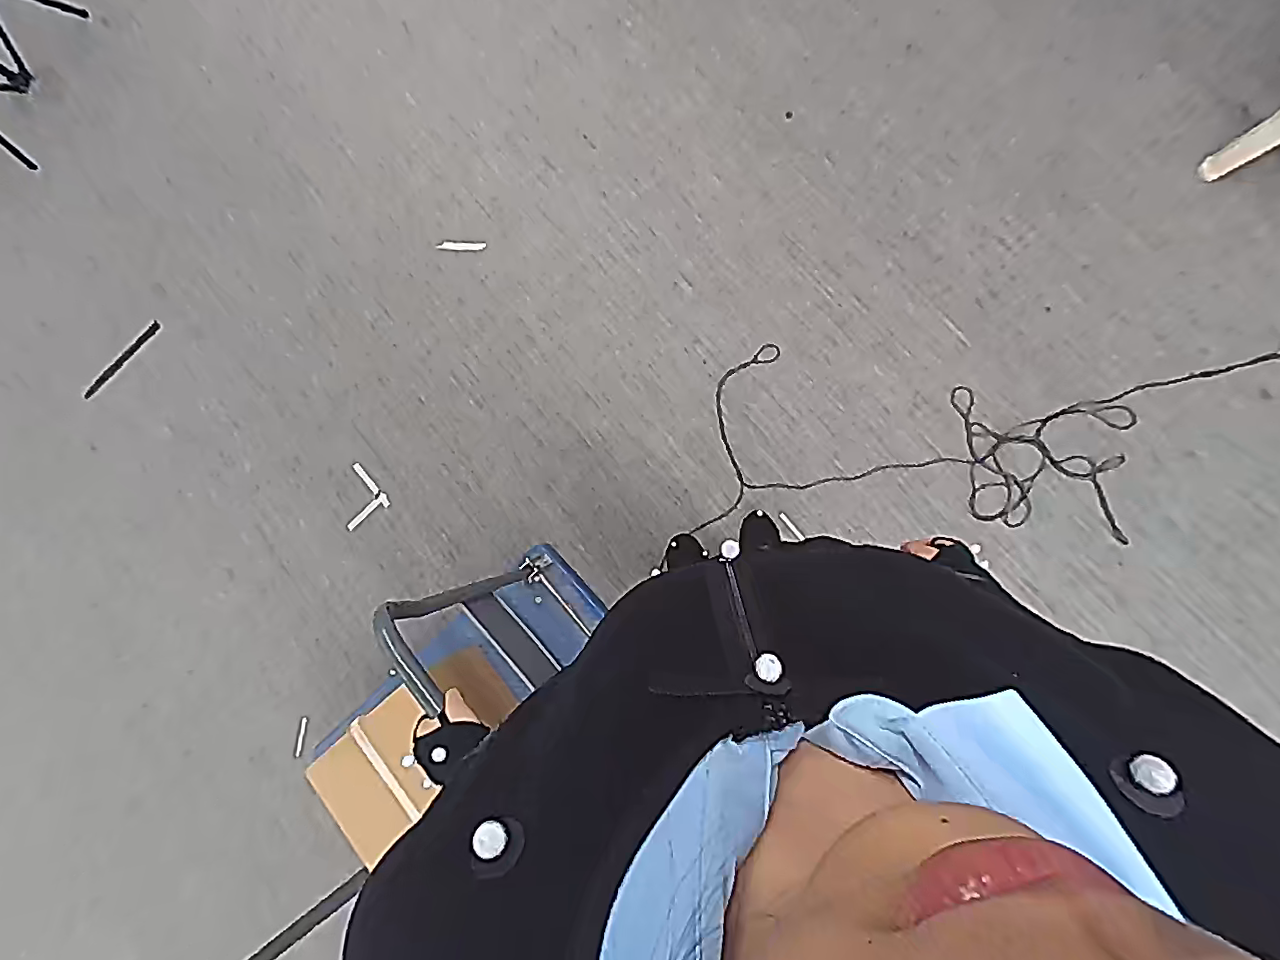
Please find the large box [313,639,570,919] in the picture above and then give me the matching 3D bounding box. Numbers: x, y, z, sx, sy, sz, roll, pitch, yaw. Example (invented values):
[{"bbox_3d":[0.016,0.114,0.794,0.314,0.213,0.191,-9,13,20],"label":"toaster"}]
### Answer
[{"bbox_3d":[-0.430,0.646,1.247,0.320,0.320,0.408,-41,83,5],"label":"large box"}]
